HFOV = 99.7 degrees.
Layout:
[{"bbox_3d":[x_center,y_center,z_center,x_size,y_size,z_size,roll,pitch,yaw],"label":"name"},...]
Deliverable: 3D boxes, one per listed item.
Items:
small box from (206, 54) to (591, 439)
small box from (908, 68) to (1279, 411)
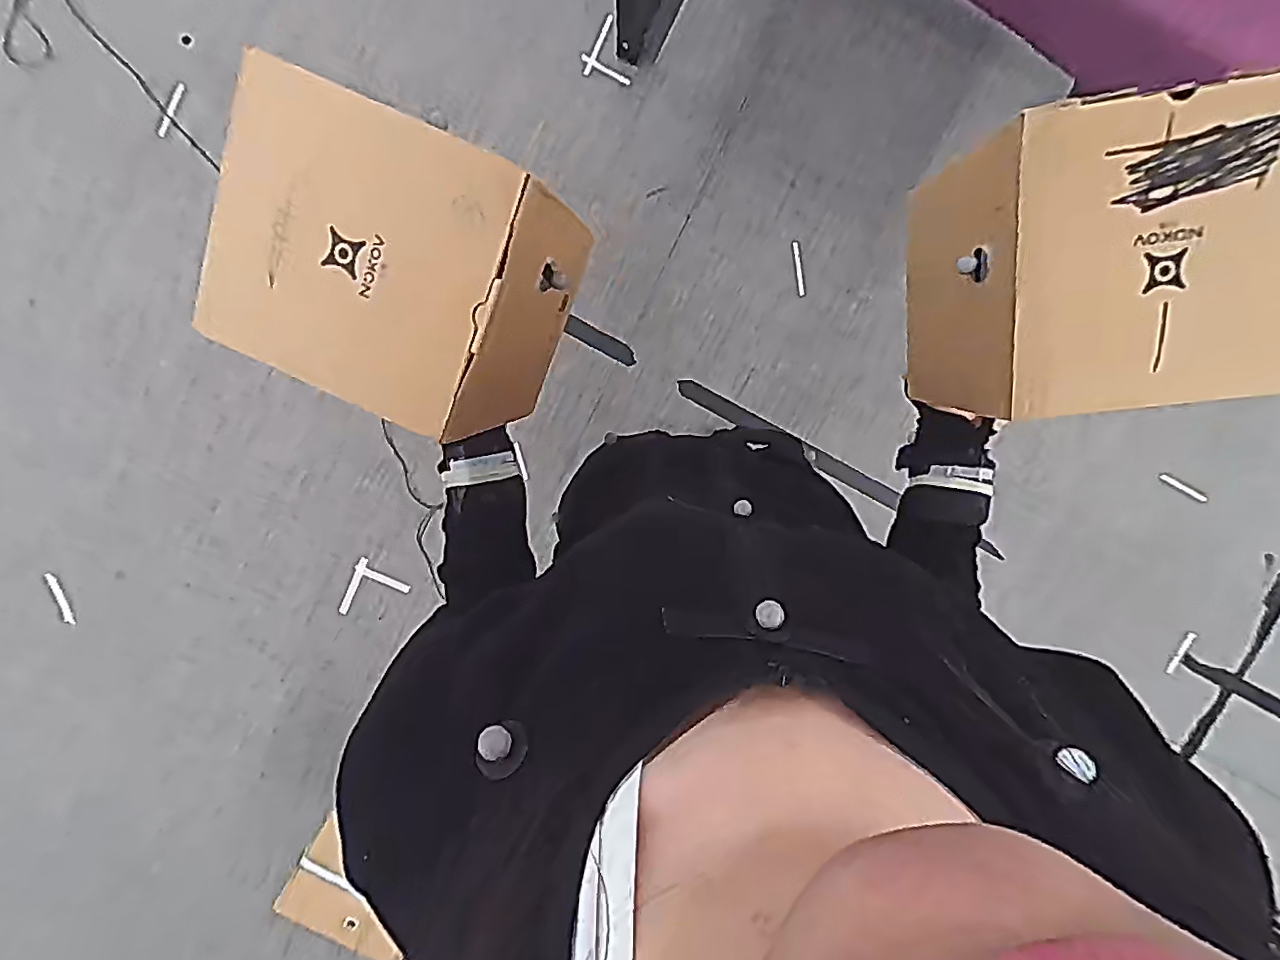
[{"bbox_3d":[-0.152,-0.148,0.393,0.179,0.176,0.168,24,104,2],"label":"small box"},{"bbox_3d":[0.309,-0.151,0.391,0.168,0.176,0.179,-6,104,6],"label":"small box"}]
